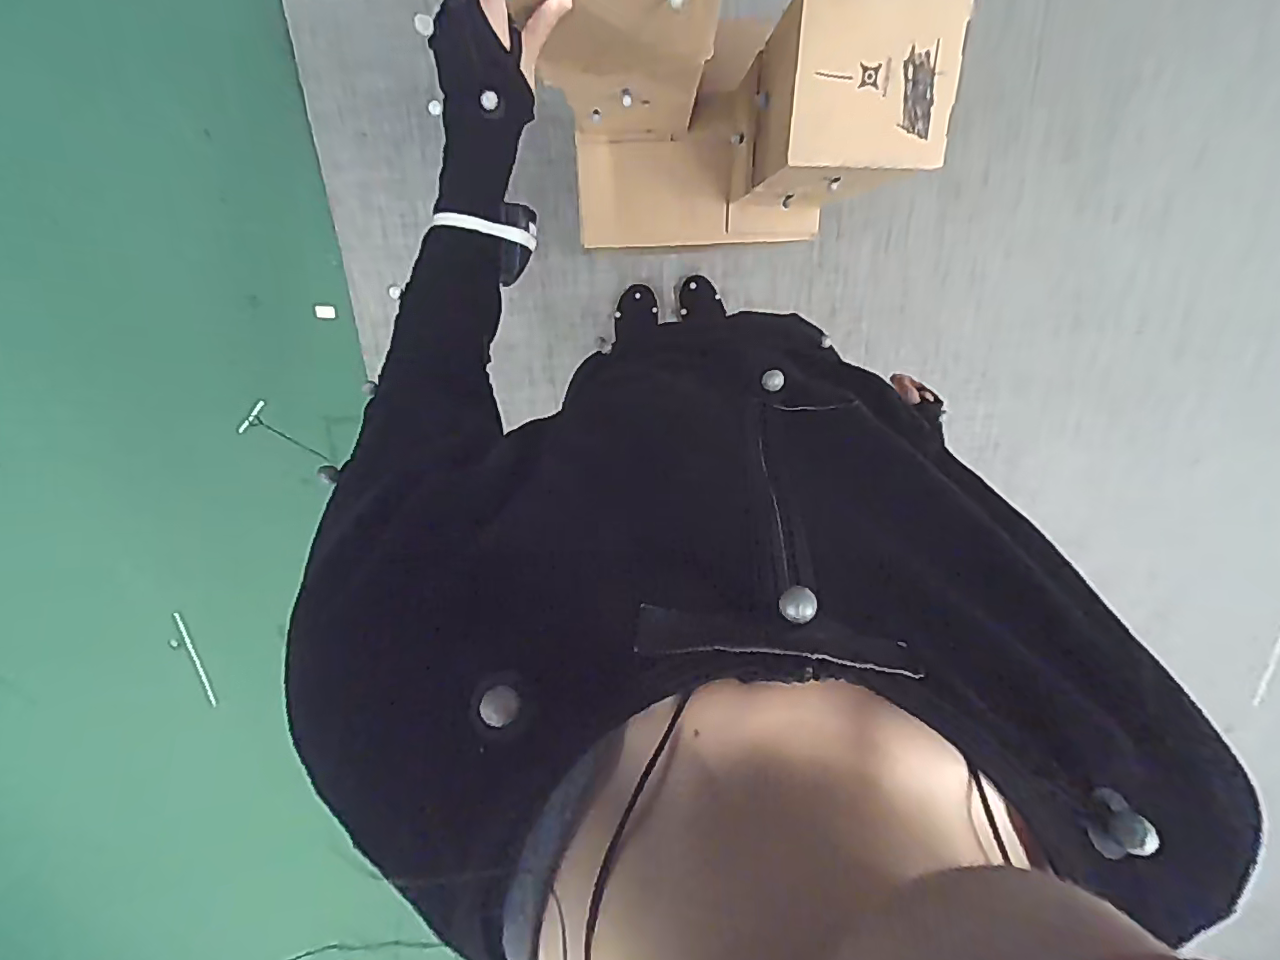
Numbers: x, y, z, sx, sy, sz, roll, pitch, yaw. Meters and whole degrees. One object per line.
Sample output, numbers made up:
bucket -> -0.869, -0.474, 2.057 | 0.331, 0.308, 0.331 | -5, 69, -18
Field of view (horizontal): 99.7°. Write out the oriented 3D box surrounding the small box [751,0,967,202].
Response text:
small box -> 0.242, -0.438, 0.646 | 0.179, 0.176, 0.168 | 1, 110, -1

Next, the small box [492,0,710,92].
small box -> -0.032, -0.466, 0.461 | 0.179, 0.176, 0.168 | -7, 105, 5

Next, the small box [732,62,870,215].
small box -> 0.237, -0.492, 0.801 | 0.179, 0.176, 0.168 | 1, 111, 0

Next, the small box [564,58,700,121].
small box -> -0.013, -0.538, 0.614 | 0.168, 0.176, 0.179 | 4, 110, 1
